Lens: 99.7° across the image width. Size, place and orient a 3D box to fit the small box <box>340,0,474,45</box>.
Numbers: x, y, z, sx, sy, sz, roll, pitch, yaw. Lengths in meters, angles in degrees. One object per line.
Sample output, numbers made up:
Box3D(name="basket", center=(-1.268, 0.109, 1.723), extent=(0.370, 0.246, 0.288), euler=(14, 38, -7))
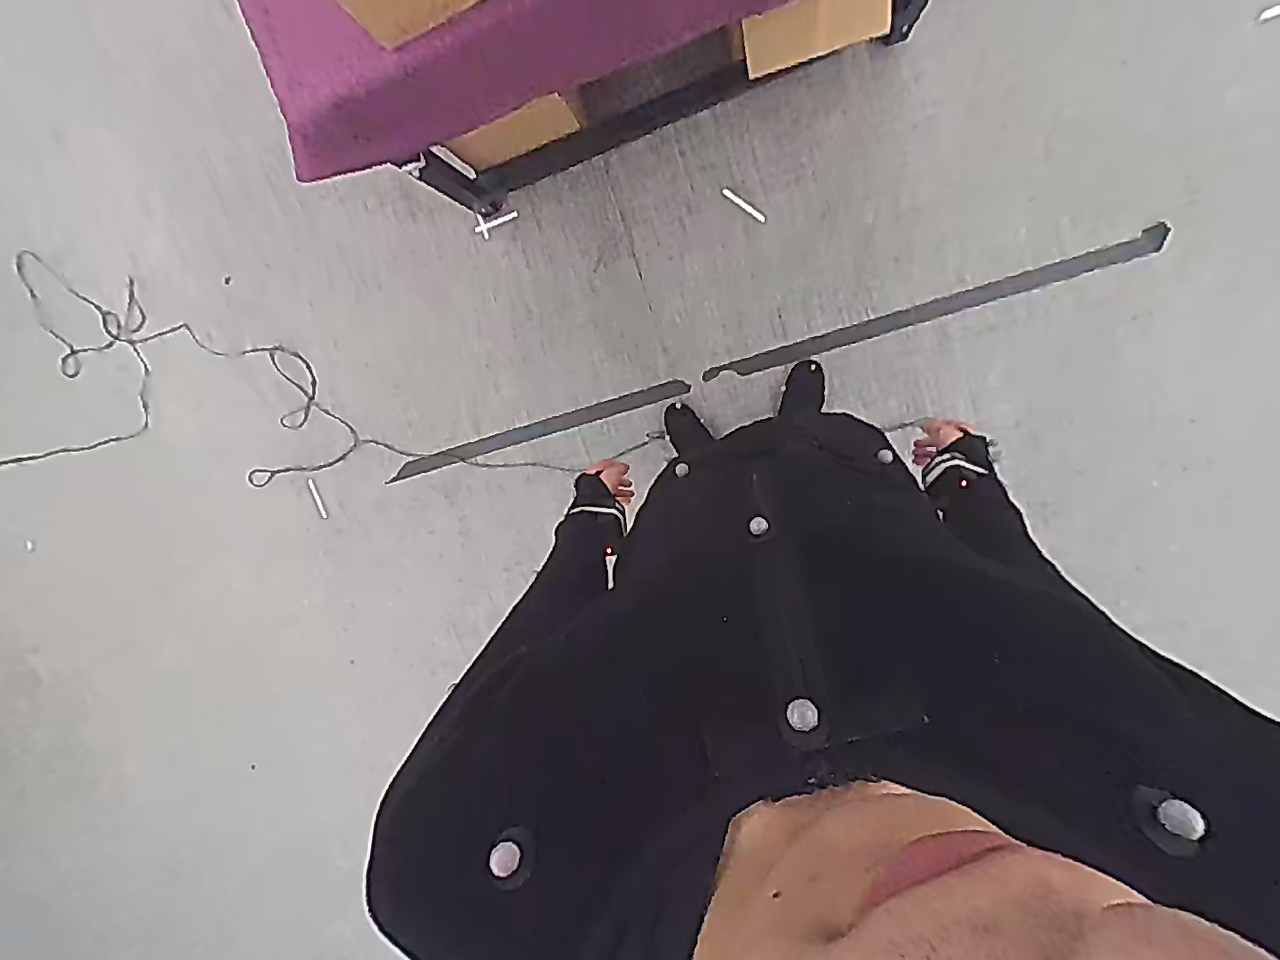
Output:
Box3D(name="small box", center=(-0.339, -0.723, 0.702), extent=(0.179, 0.176, 0.168), euler=(-18, 100, 10))
